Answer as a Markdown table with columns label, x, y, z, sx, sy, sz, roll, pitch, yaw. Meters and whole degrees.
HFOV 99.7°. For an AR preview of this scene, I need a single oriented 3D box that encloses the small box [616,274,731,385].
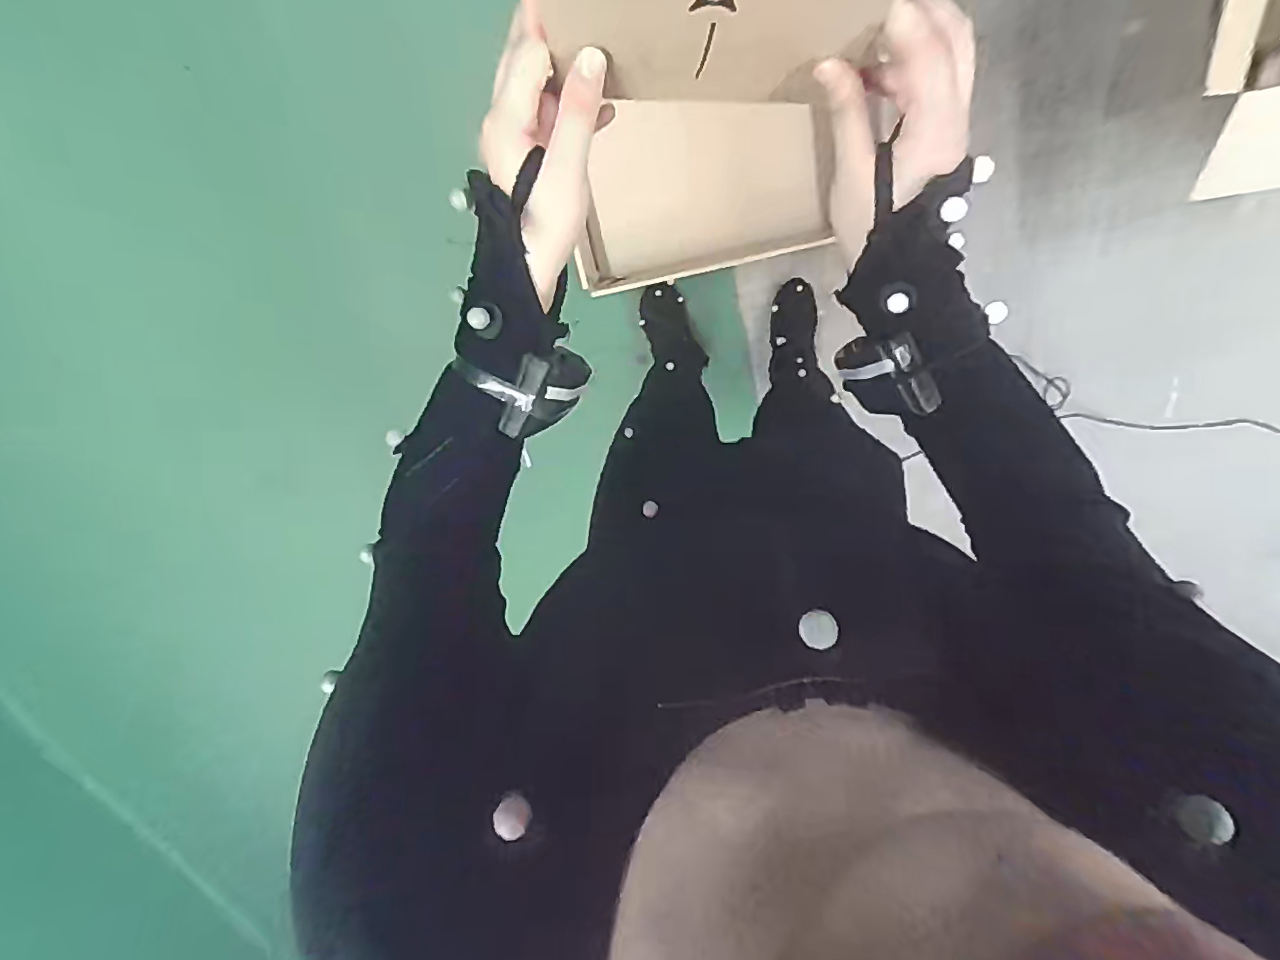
| label | x | y | z | sx | sy | sz | roll | pitch | yaw |
| --- | --- | --- | --- | --- | --- | --- | --- | --- | --- |
| small box | 0.084 | -0.346 | 1.246 | 0.176 | 0.168 | 0.179 | 26 | 94 | -40 |
